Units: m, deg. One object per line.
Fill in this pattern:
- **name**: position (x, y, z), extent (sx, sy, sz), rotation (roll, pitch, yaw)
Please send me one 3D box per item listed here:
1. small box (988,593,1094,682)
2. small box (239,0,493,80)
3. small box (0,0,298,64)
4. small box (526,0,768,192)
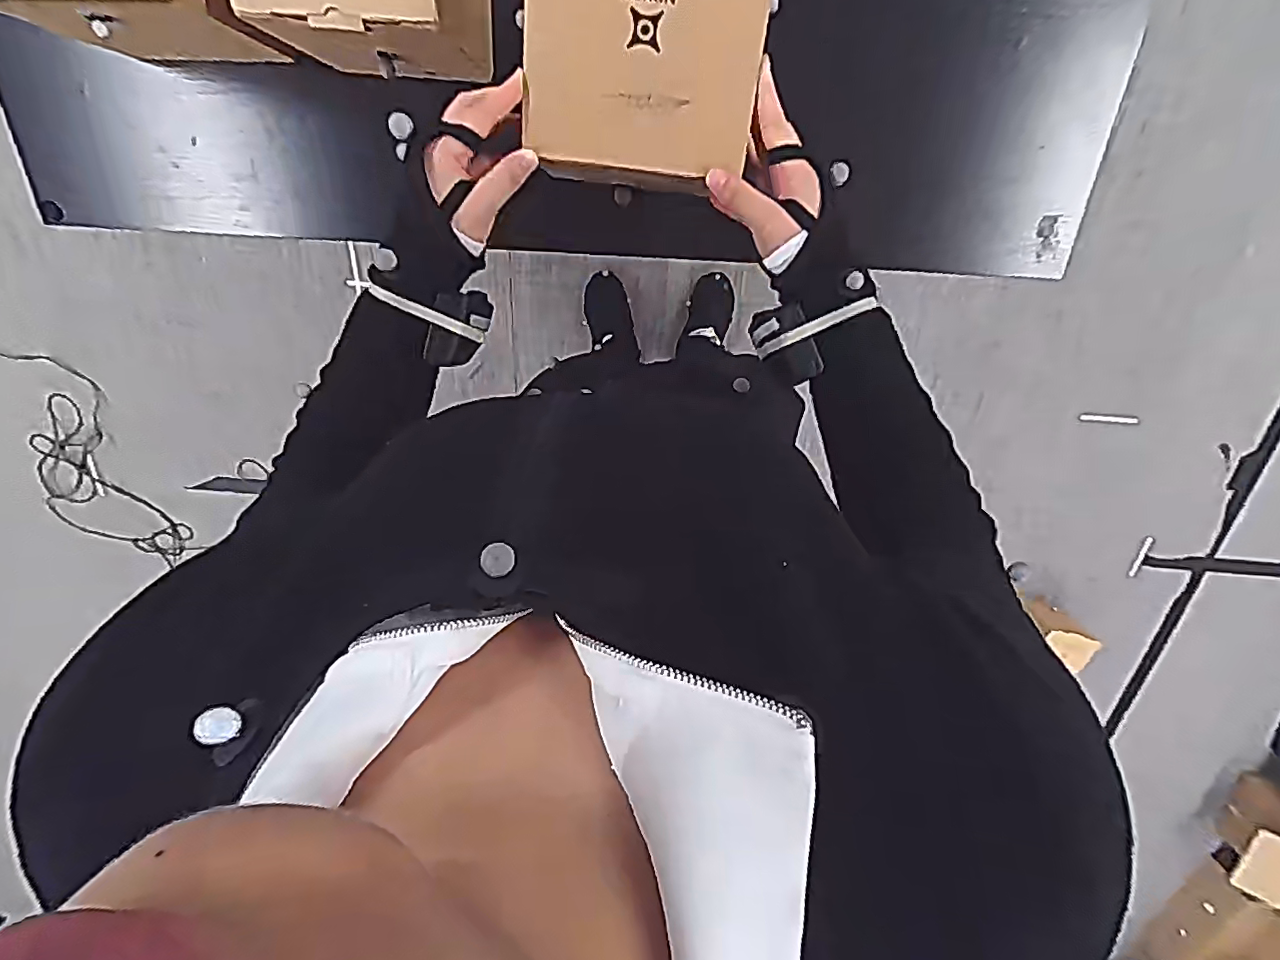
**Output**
- **small box**: position (1.216, 0.480, 1.662), extent (0.168, 0.176, 0.179), rotation (16, 114, -6)
- **small box**: position (-0.233, -0.477, 0.475), extent (0.168, 0.176, 0.179), rotation (4, 115, 0)
- **small box**: position (-0.448, -0.489, 0.473), extent (0.179, 0.176, 0.168), rotation (1, 114, 0)
- **small box**: position (0.005, -0.349, 0.446), extent (0.168, 0.176, 0.179), rotation (5, 115, -1)
